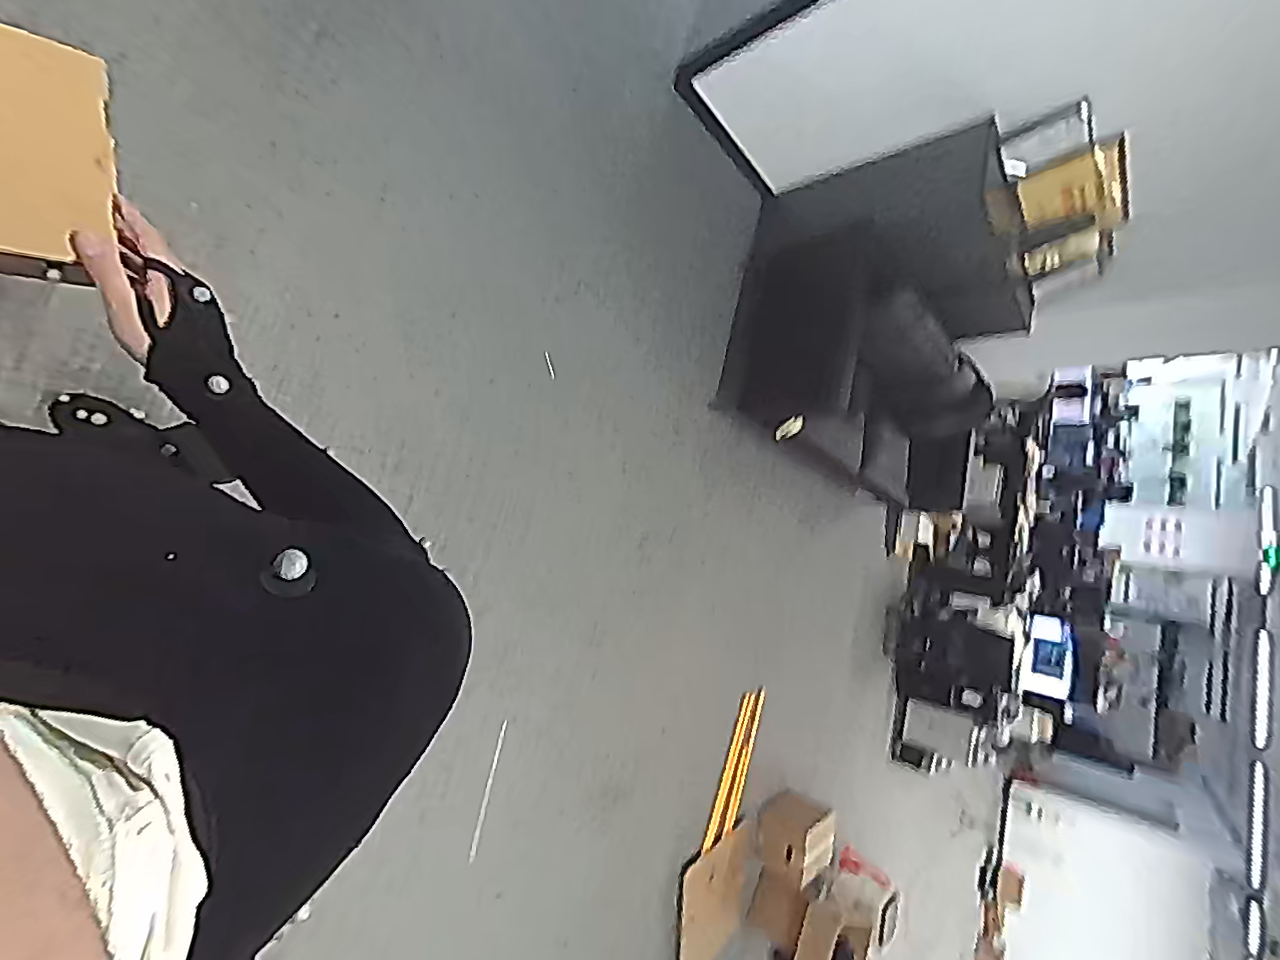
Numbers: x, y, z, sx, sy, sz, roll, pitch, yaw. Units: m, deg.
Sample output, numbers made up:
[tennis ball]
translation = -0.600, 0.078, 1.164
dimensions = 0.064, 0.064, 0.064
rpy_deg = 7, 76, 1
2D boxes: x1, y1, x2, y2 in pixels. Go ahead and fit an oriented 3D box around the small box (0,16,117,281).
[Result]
[small box]
translation = -0.554, -0.267, 0.438
dimensions = 0.179, 0.176, 0.168
rpy_deg = -6, 102, -46
